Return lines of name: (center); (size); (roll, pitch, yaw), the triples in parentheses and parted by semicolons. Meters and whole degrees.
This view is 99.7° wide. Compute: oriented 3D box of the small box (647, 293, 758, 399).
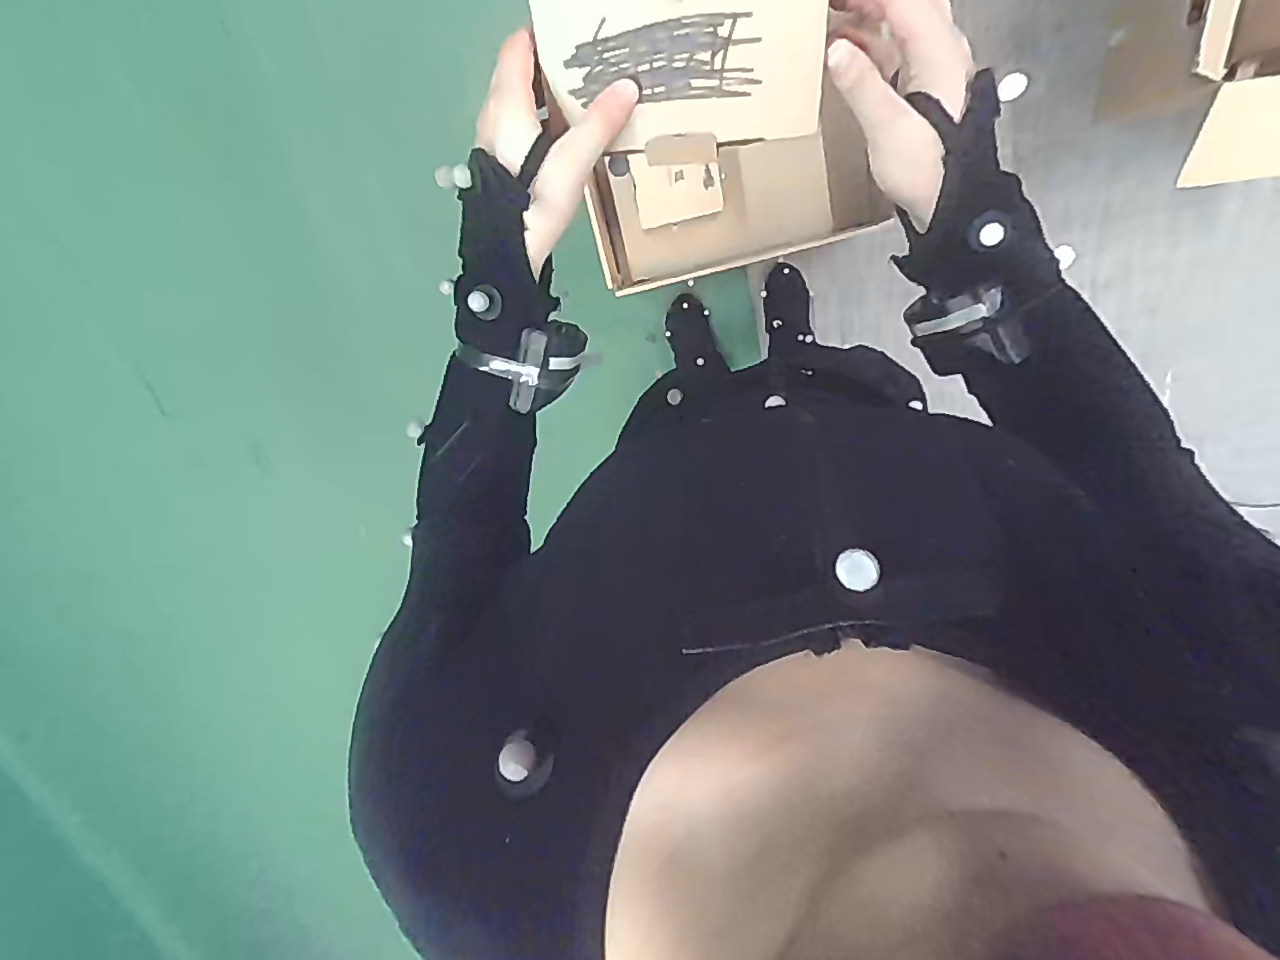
small box: (0.157, -0.321, 1.295); (0.176, 0.168, 0.179); (32, 88, -38)

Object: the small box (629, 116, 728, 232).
small box: (0.085, -0.636, 1.148); (0.179, 0.176, 0.168); (-11, 109, 8)
